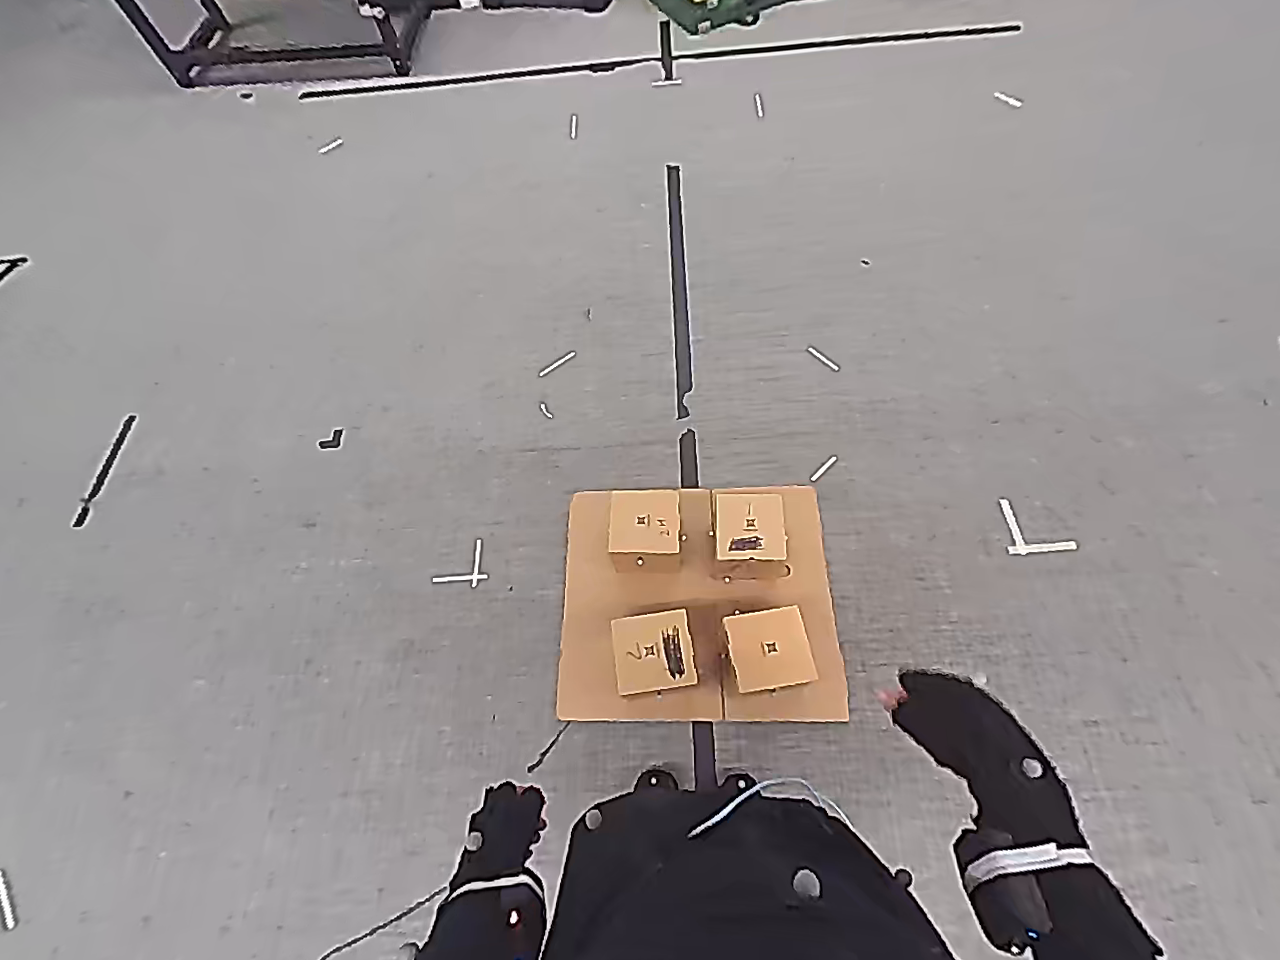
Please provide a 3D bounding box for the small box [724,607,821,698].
[{"bbox_3d":[0.302,0.408,1.269,0.179,0.176,0.168,-11,63,1],"label":"small box"}]
